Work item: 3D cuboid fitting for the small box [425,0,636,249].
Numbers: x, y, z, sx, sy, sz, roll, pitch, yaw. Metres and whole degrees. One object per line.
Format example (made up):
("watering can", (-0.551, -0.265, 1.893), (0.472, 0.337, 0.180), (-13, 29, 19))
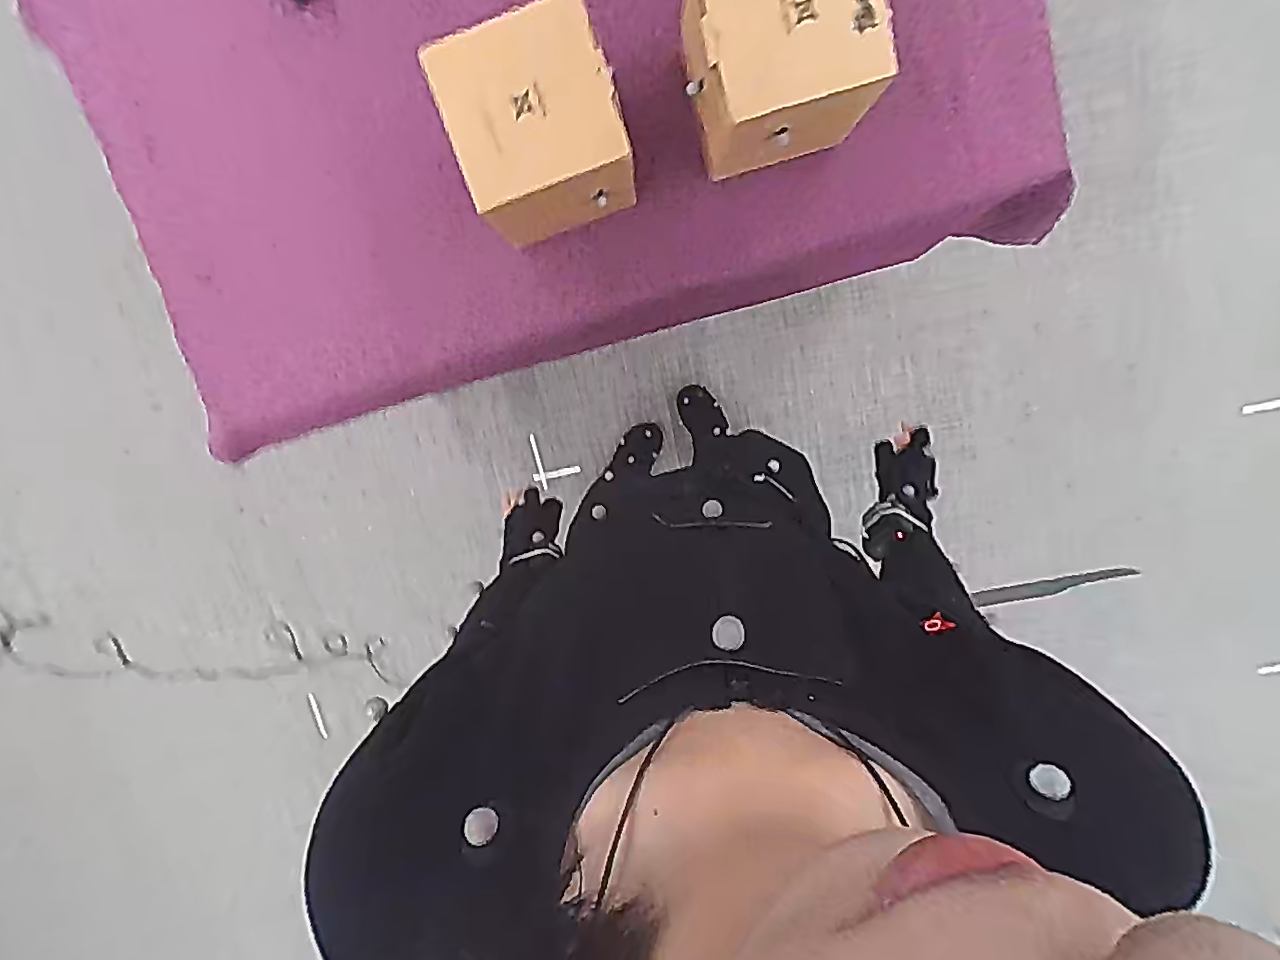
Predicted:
("small box", (-0.111, -0.398, 0.636), (0.179, 0.176, 0.168), (-20, 98, 5))

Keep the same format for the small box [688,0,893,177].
("small box", (0.155, -0.478, 0.616), (0.179, 0.176, 0.168), (-15, 100, 5))
